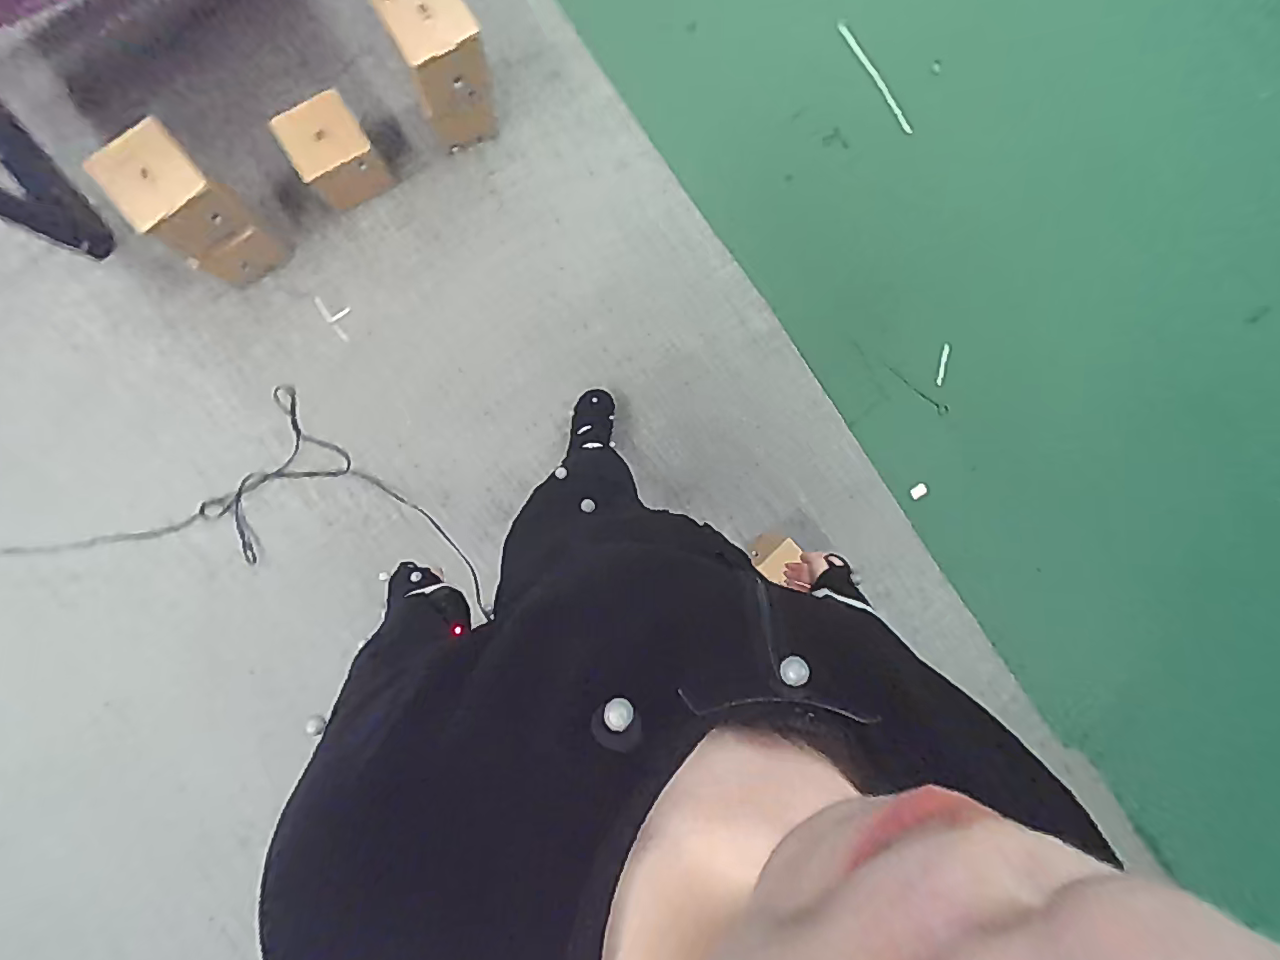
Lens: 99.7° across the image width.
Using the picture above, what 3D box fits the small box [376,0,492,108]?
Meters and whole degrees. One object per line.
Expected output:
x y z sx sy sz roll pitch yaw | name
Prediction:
-0.452 -0.982 1.213 0.168 0.176 0.179 -30 94 -5 | small box

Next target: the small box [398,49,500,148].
-0.474 -0.987 1.376 0.168 0.176 0.179 -27 92 -5 | small box
